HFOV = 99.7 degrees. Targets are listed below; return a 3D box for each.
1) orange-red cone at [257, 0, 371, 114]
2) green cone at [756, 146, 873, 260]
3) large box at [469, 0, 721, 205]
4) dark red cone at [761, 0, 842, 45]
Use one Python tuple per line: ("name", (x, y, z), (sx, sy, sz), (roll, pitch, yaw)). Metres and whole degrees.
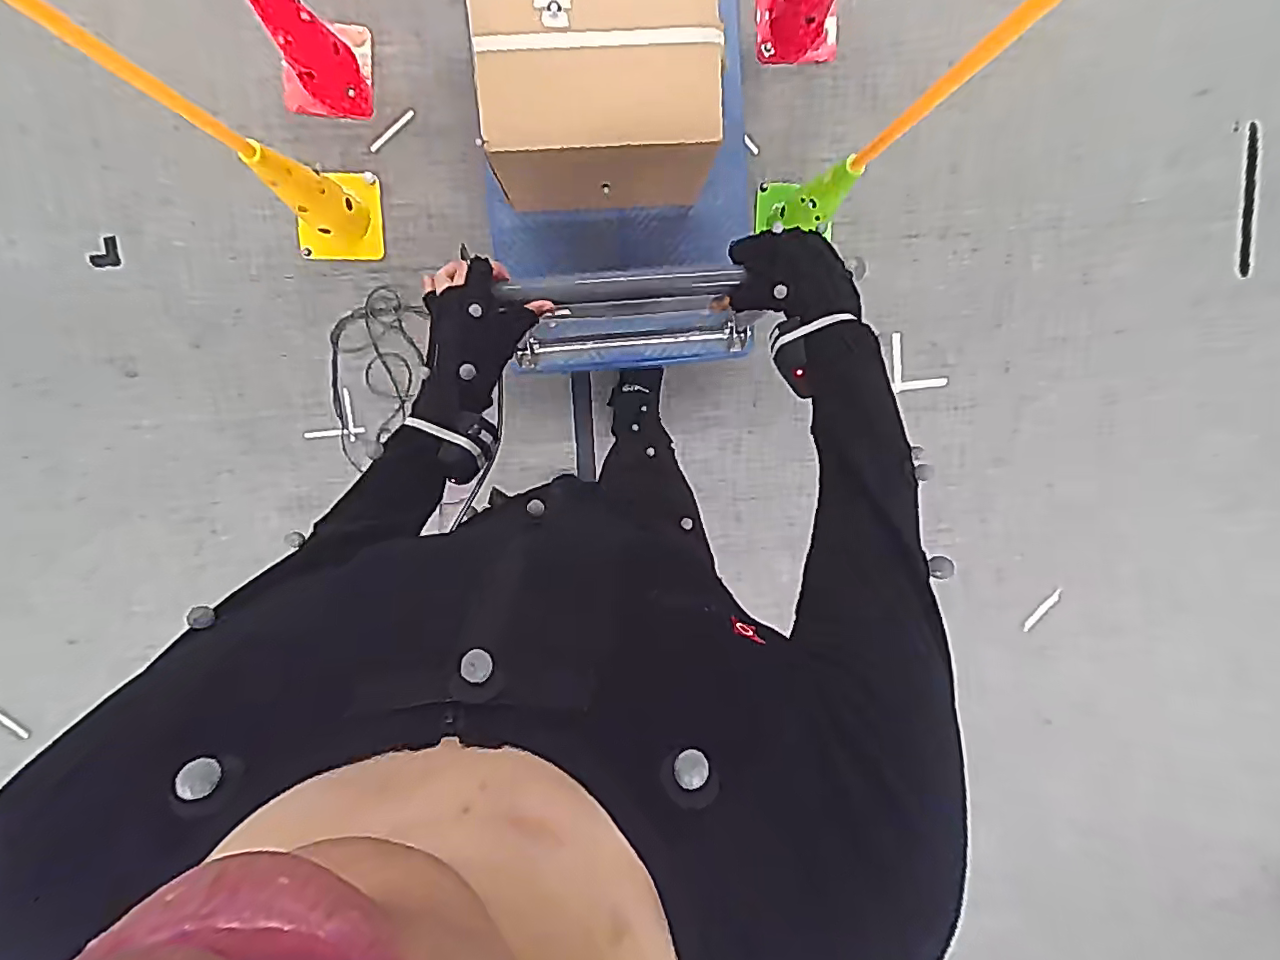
("orange-red cone", (-0.720, -0.955, 1.100), (0.198, 0.360, 0.199), (3, 97, -5))
("green cone", (0.412, -0.647, 1.220), (0.202, 0.368, 0.200), (-1, 99, -5))
("large box", (-0.077, -0.743, 1.027), (0.408, 0.320, 0.320), (-4, 99, -2))
("dark red cone", (0.401, -1.124, 1.130), (0.201, 0.394, 0.202), (-5, 99, -5))
